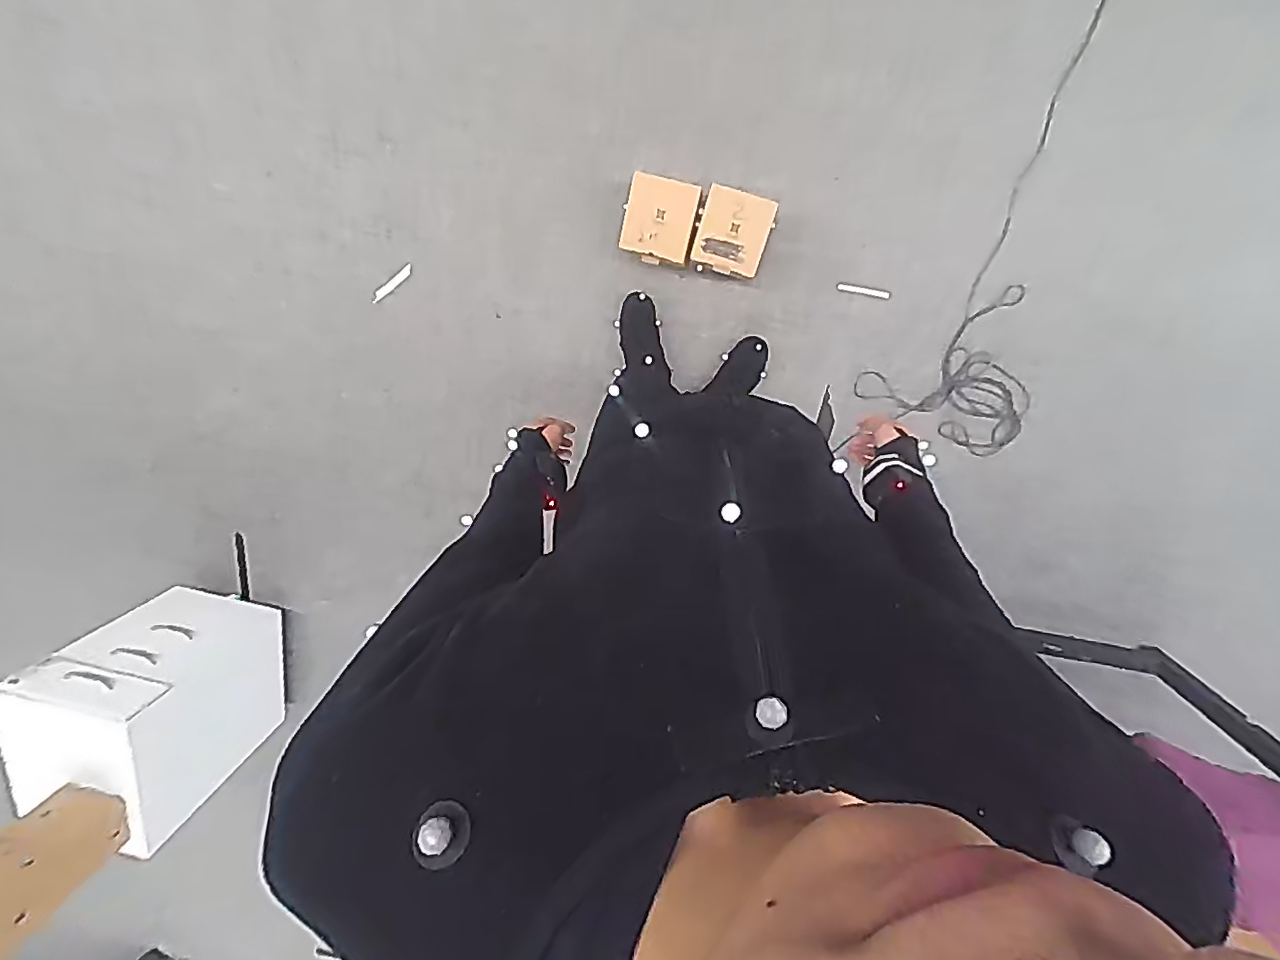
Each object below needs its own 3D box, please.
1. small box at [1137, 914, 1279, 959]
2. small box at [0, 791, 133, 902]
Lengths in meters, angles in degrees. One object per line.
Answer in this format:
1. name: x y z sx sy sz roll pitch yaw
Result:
1. small box: 1.141 0.987 1.043 0.179 0.176 0.168 10 109 3
2. small box: -1.523 0.972 1.446 0.179 0.176 0.168 13 110 2
